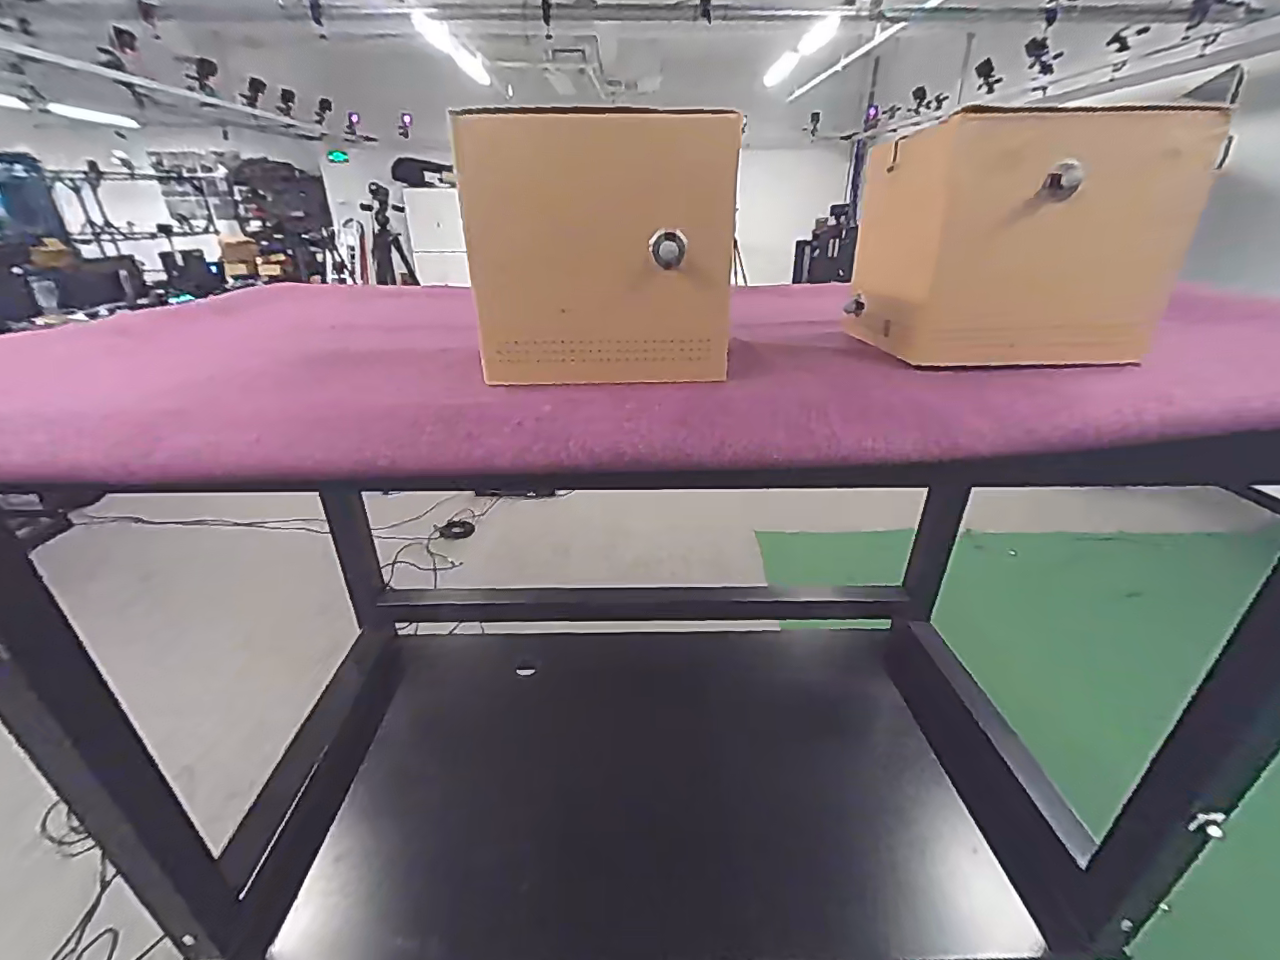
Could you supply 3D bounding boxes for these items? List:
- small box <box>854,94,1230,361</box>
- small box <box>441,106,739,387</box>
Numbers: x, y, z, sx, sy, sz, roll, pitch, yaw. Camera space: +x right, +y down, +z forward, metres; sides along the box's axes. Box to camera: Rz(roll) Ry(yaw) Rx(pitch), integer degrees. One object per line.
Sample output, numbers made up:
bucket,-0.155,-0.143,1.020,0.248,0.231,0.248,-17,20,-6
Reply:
small box,0.291,-0.196,0.446,0.179,0.176,0.168,0,25,1
small box,-0.030,-0.176,0.420,0.179,0.176,0.168,-3,27,-2
